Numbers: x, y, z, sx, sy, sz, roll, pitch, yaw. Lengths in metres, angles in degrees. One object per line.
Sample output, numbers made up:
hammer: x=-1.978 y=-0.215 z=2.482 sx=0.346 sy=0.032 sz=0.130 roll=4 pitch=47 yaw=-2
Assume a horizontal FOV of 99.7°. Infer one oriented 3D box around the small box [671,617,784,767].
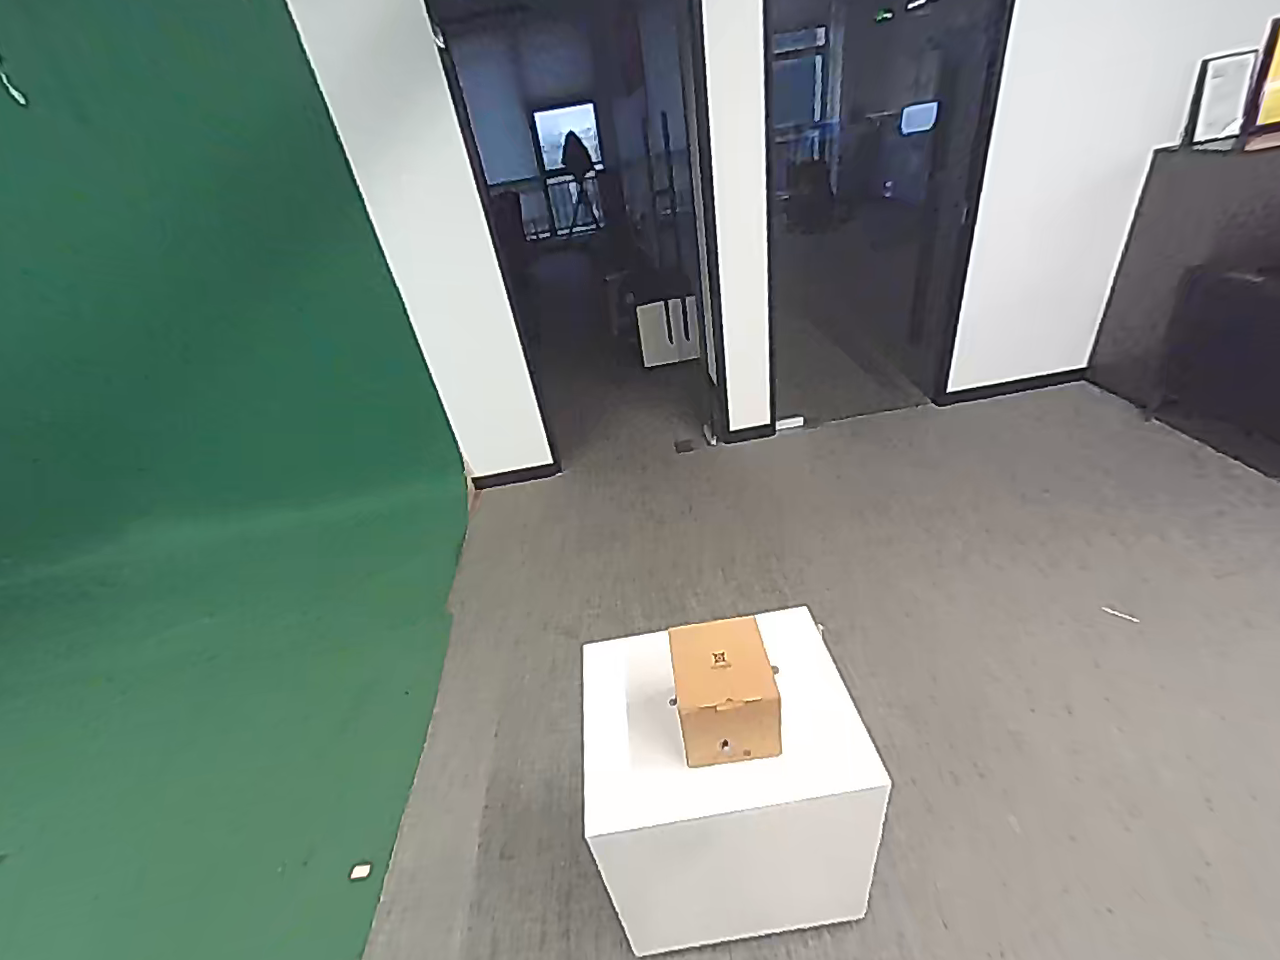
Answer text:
small box: x=0.152 y=0.375 z=0.964 sx=0.168 sy=0.176 sz=0.179 roll=-9 pitch=32 yaw=1
